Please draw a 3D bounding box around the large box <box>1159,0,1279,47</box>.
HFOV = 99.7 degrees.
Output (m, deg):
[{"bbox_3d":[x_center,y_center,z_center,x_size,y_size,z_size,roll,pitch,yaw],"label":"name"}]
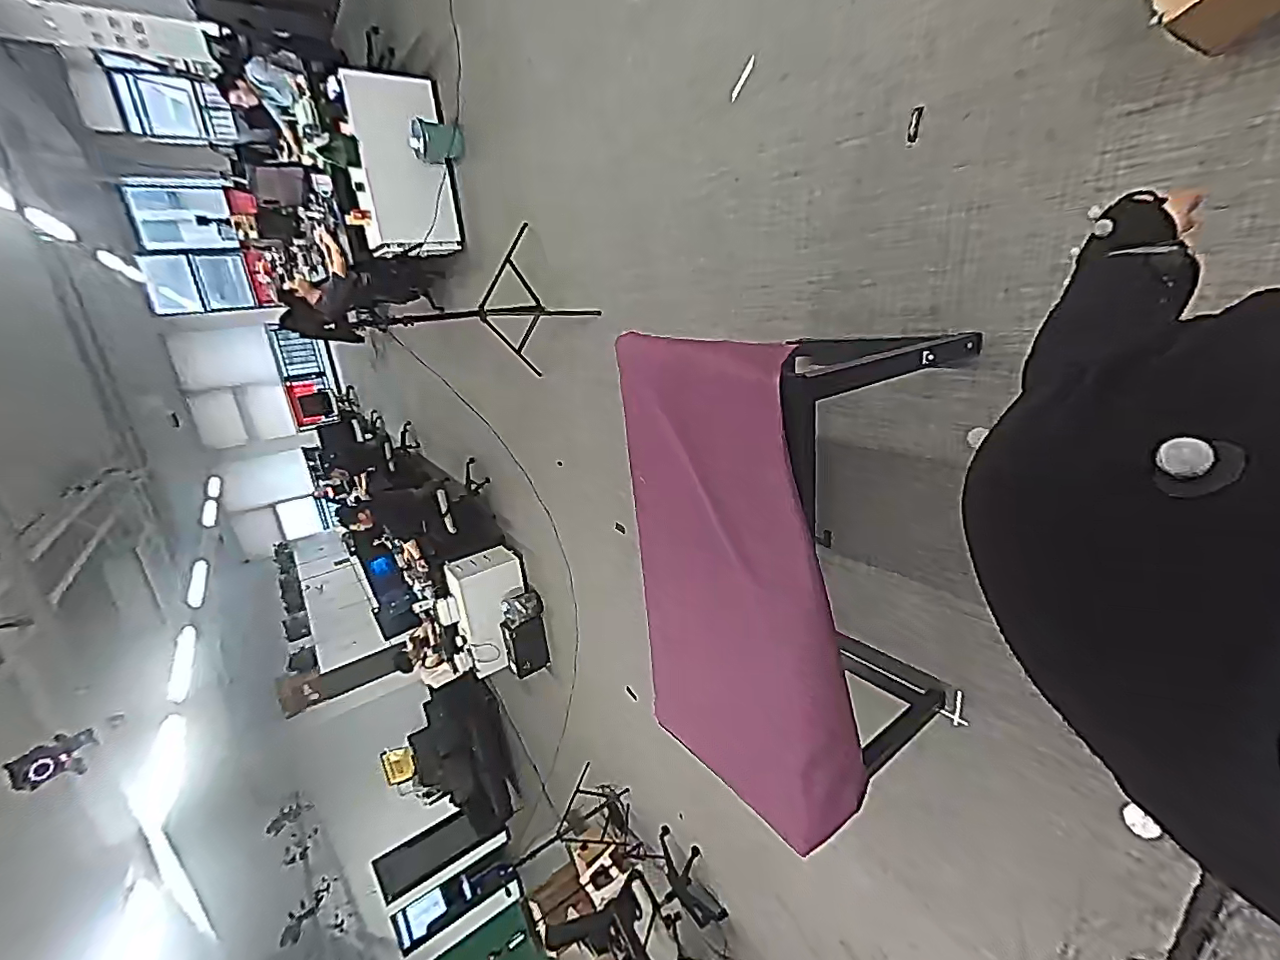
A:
[{"bbox_3d":[0.944,-0.900,0.712,0.408,0.320,0.320,-26,82,59],"label":"large box"}]
